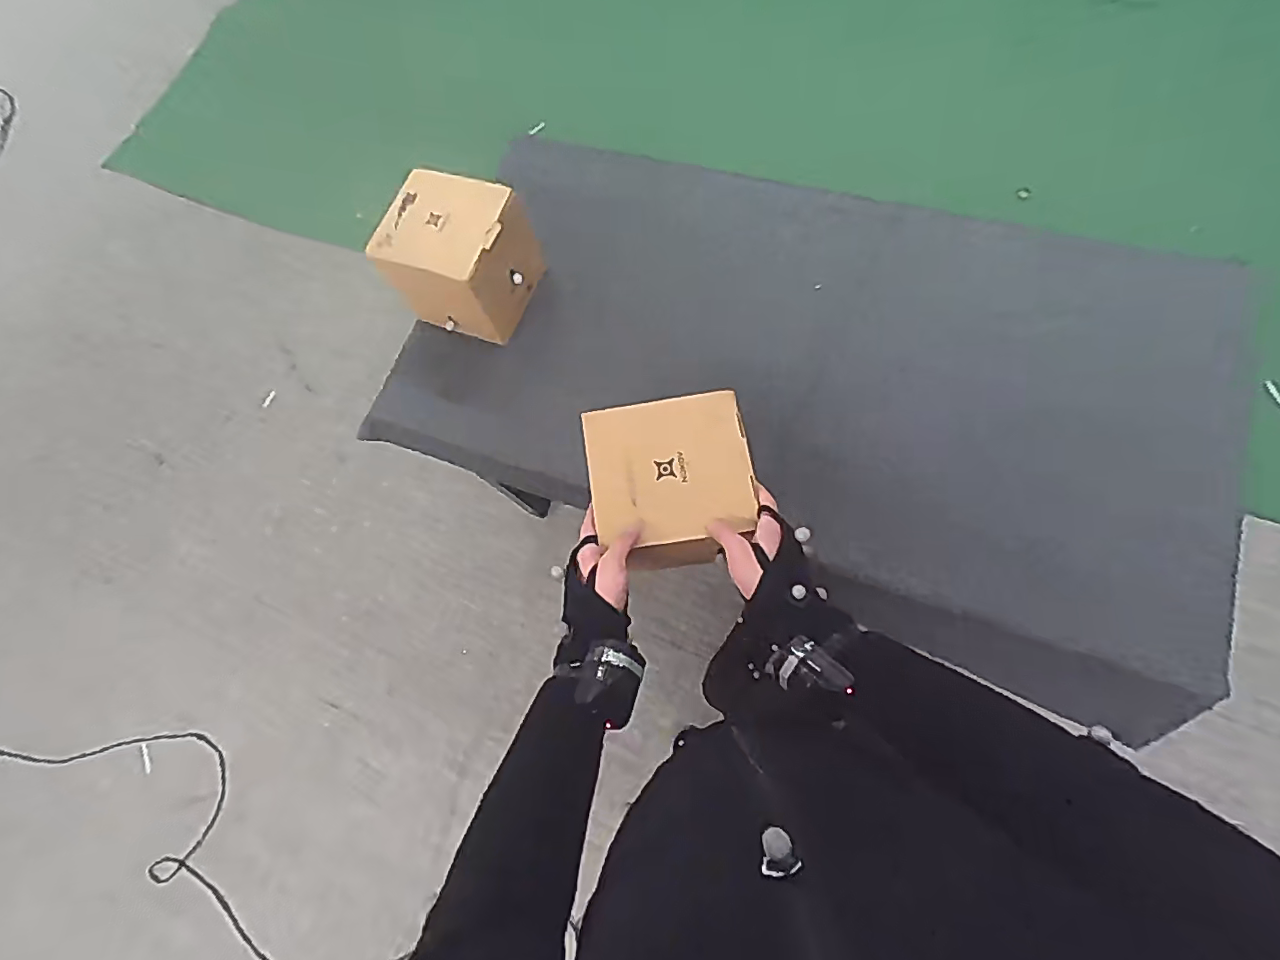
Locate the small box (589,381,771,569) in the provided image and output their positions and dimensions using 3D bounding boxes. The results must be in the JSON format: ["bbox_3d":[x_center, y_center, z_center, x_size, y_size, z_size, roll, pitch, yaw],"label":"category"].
[{"bbox_3d":[0.042,0.003,0.649,0.179,0.176,0.168,-9,70,1],"label":"small box"}]

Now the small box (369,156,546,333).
[{"bbox_3d":[-0.268,-0.355,0.842,0.179,0.176,0.168,20,75,11],"label":"small box"}]
